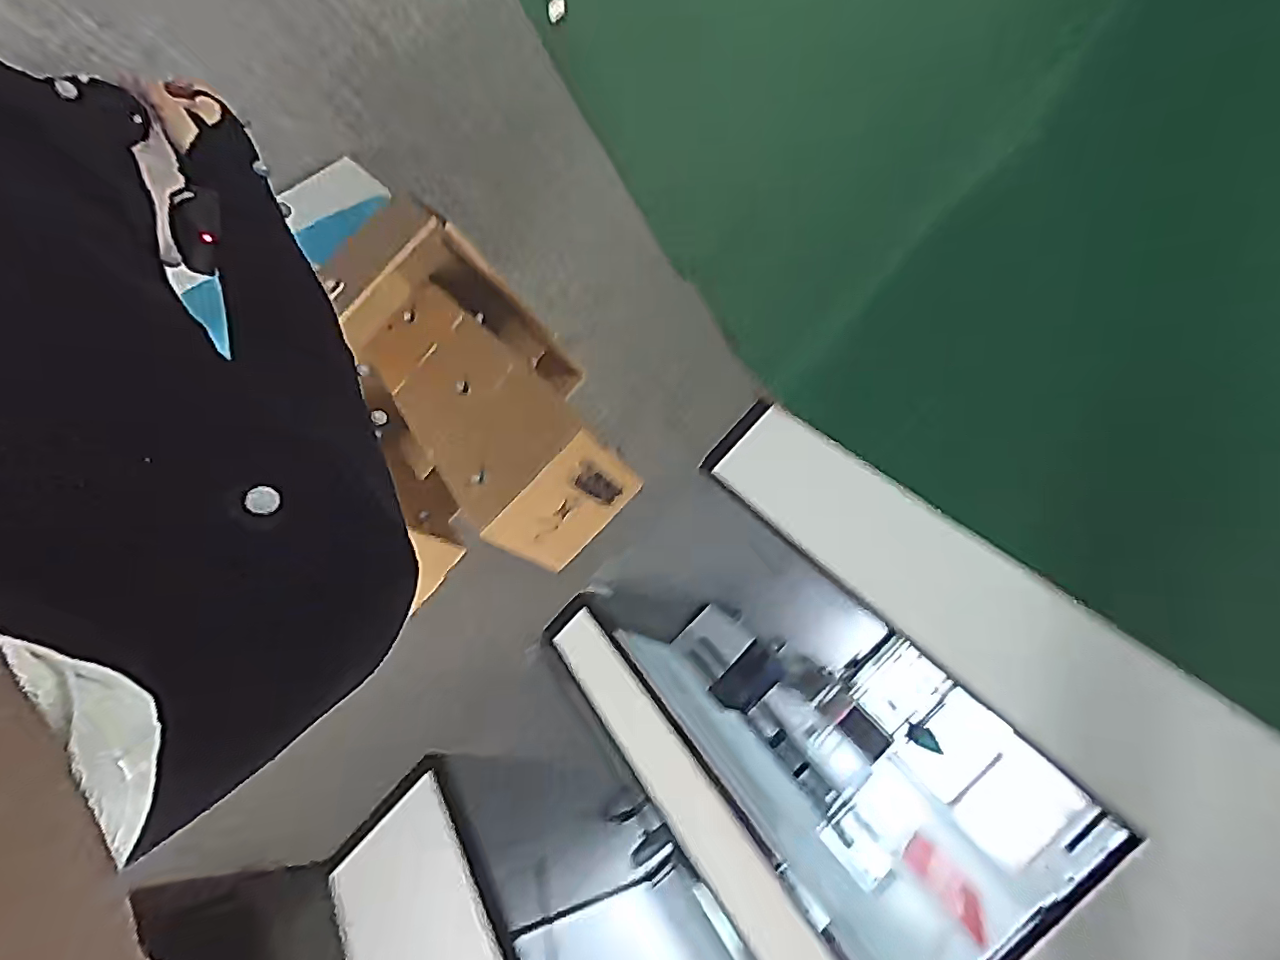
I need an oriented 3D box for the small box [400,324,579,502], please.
[{"bbox_3d":[-0.233,-0.103,0.826,0.179,0.176,0.168,-46,143,3],"label":"small box"}]
